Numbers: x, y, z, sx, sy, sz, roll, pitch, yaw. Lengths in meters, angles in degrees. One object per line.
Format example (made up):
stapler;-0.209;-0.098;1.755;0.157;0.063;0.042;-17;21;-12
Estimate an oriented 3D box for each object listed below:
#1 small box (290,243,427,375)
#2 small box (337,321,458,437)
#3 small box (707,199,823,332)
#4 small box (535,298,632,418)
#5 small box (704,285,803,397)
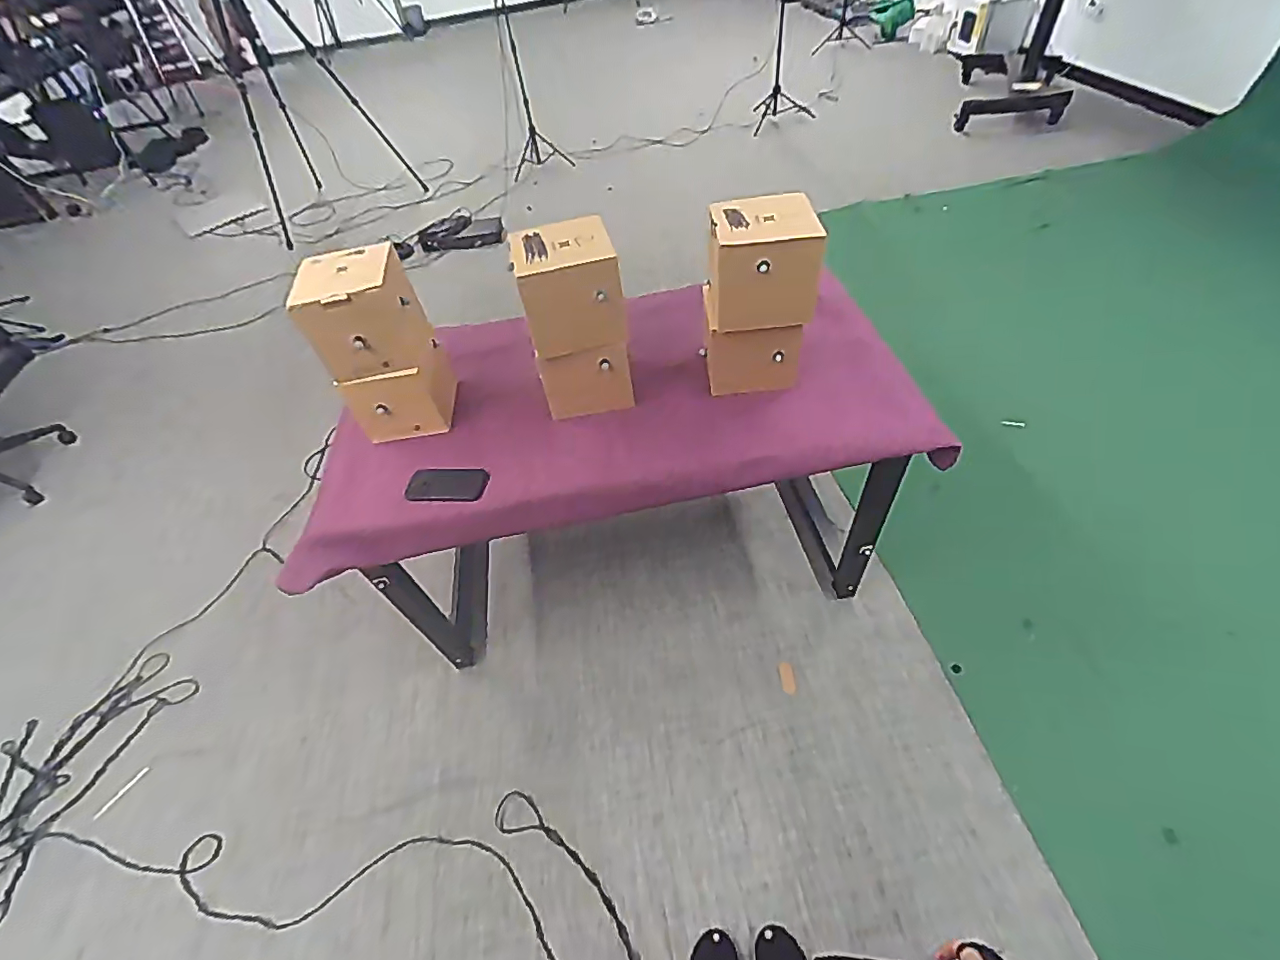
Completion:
small box;-0.519;-0.317;1.026;0.168;0.176;0.179;-12;51;-3
small box;-0.501;-0.206;1.146;0.168;0.176;0.179;-8;50;1
small box;0.218;-0.386;0.986;0.179;0.176;0.168;-4;50;3
small box;-0.113;-0.251;1.130;0.179;0.176;0.168;-9;50;0
small box;0.225;-0.291;1.121;0.179;0.176;0.168;-4;50;5
